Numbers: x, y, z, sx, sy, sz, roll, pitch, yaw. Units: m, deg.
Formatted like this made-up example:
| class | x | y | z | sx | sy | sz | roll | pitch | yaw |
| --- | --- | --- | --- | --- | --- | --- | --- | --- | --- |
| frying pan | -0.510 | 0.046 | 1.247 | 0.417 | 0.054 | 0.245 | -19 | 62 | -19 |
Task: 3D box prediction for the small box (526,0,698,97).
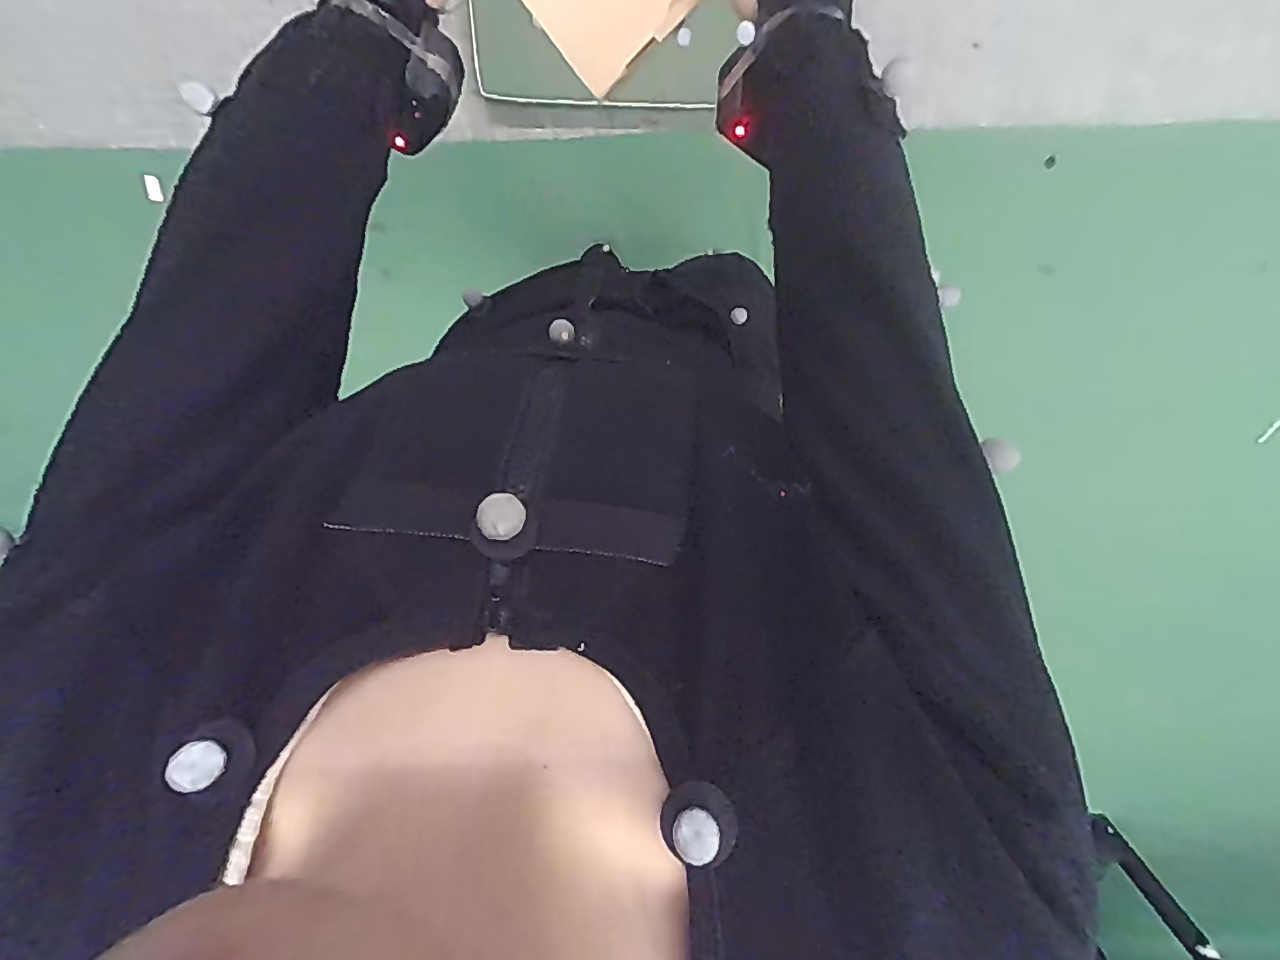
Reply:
| class | x | y | z | sx | sy | sz | roll | pitch | yaw |
| --- | --- | --- | --- | --- | --- | --- | --- | --- | --- |
| small box | -0.024 | -0.443 | 0.419 | 0.168 | 0.176 | 0.179 | -34 | 118 | 24 |
